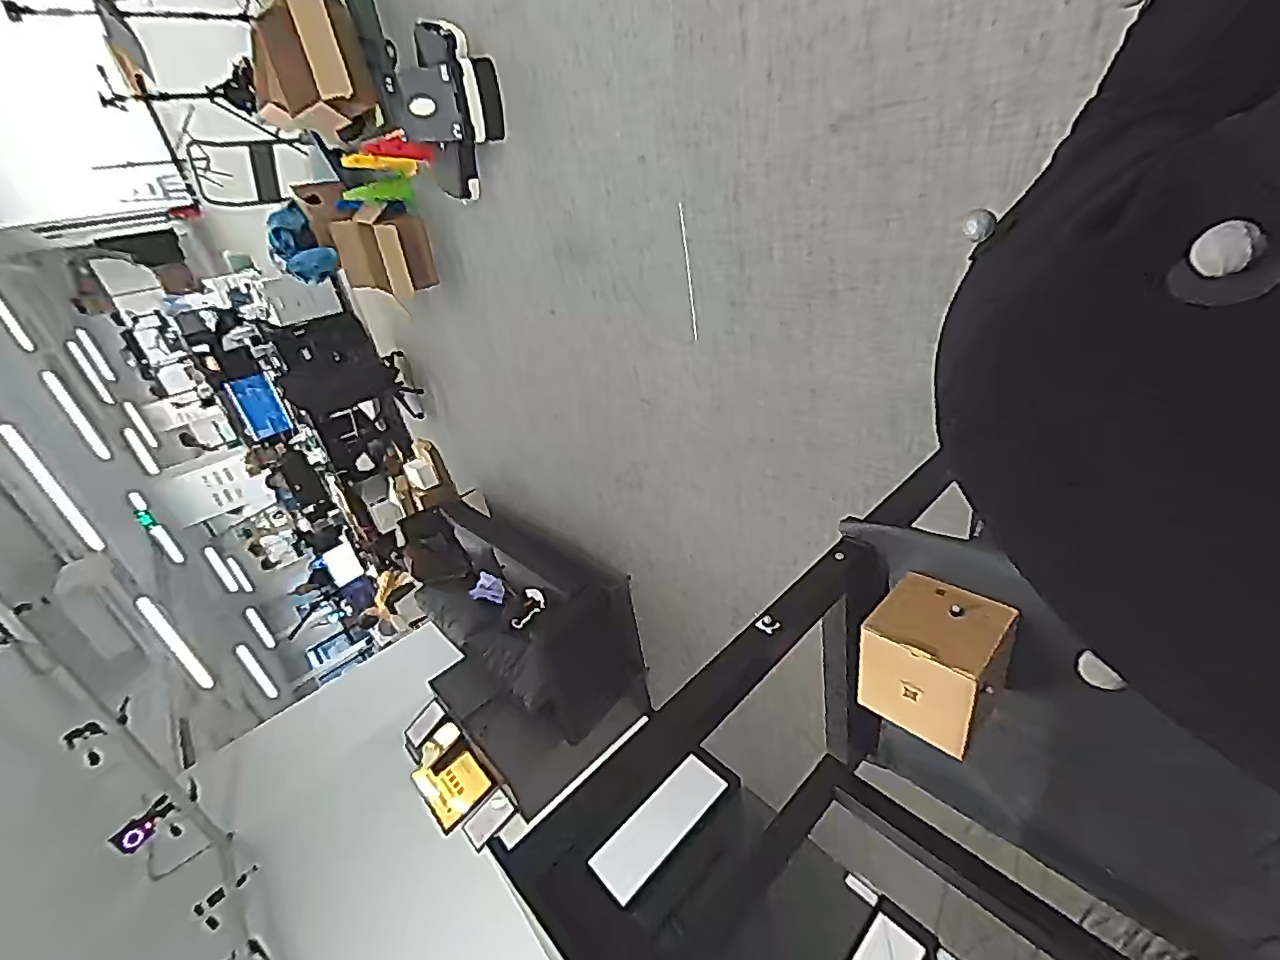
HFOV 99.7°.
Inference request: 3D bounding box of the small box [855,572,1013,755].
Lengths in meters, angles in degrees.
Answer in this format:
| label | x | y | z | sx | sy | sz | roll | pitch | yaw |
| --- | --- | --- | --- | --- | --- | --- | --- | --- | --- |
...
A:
| label | x | y | z | sx | sy | sz | roll | pitch | yaw |
| --- | --- | --- | --- | --- | --- | --- | --- | --- | --- |
| small box | 0.461 | 0.280 | 0.856 | 0.168 | 0.176 | 0.179 | 20 | 130 | 45 |
